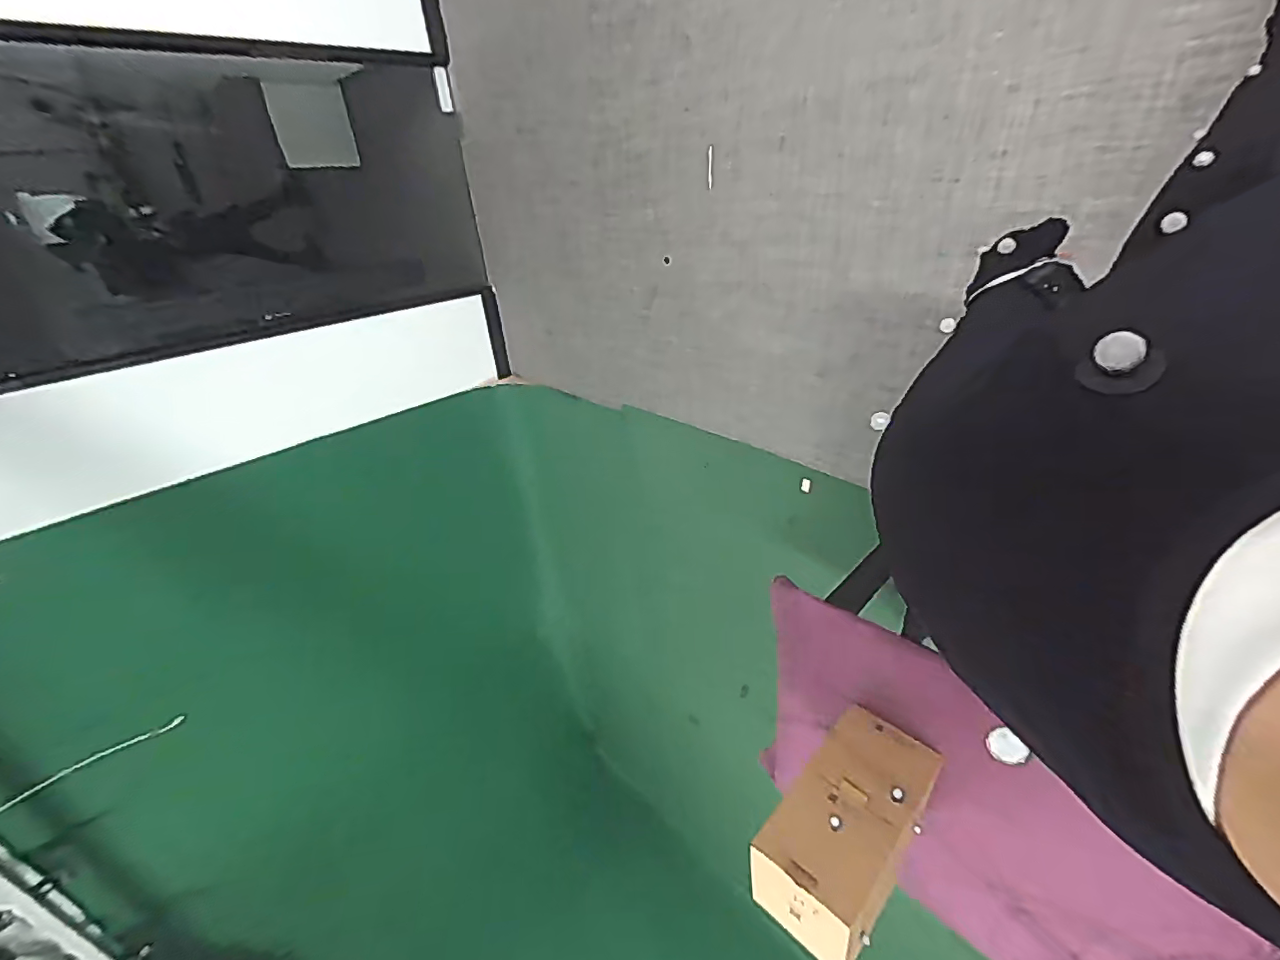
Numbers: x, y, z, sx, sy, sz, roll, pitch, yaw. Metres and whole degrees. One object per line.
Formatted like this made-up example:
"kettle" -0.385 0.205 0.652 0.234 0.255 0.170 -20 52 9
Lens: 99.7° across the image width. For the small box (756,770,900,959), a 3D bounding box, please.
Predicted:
"small box" 0.308 0.632 0.892 0.168 0.176 0.179 21 129 42
